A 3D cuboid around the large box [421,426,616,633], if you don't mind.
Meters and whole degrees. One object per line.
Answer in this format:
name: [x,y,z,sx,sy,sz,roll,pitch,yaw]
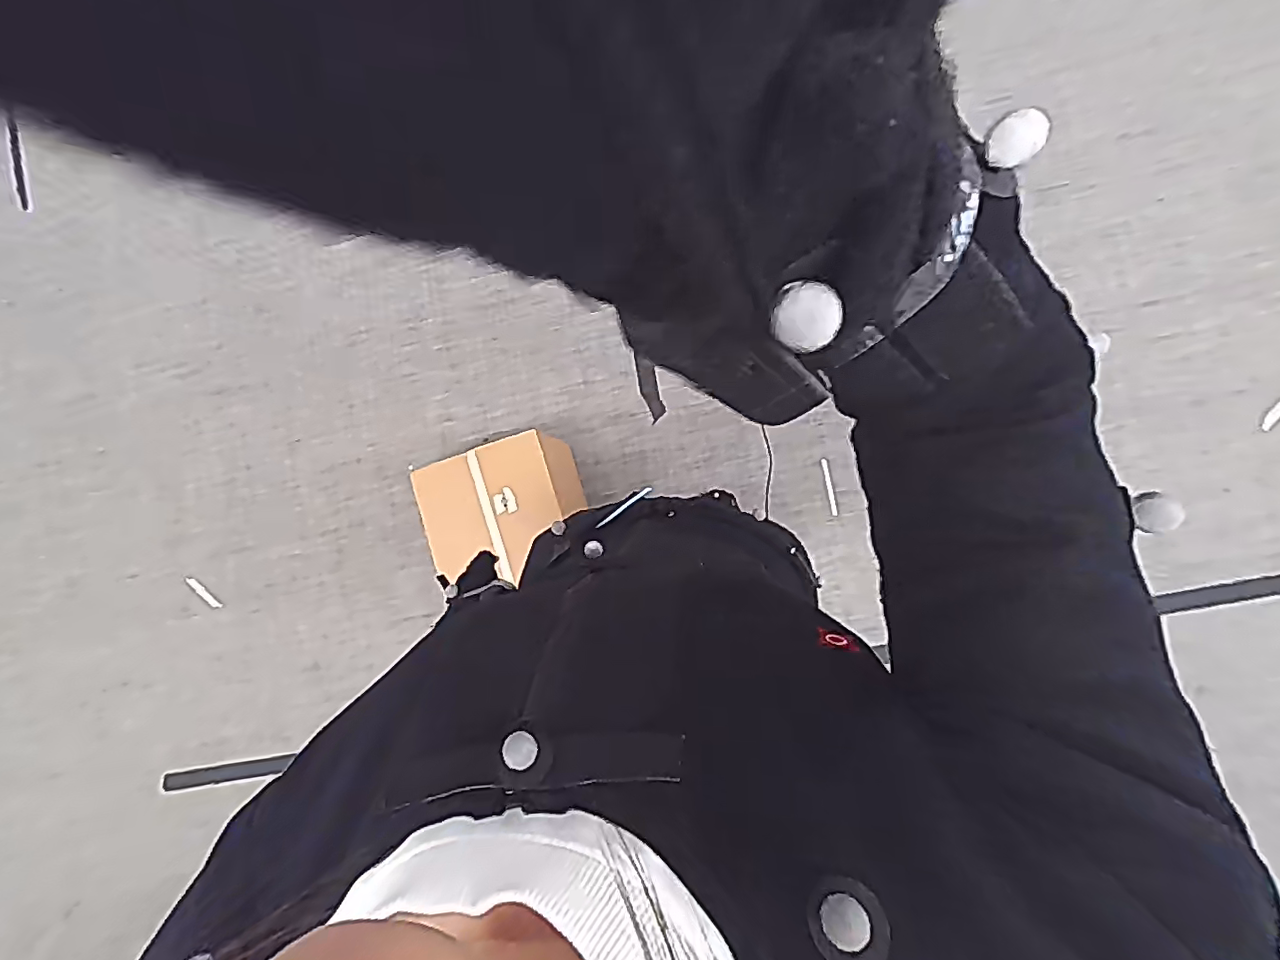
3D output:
large box: [-0.284,0.121,1.361,0.320,0.320,0.408,-18,84,5]
